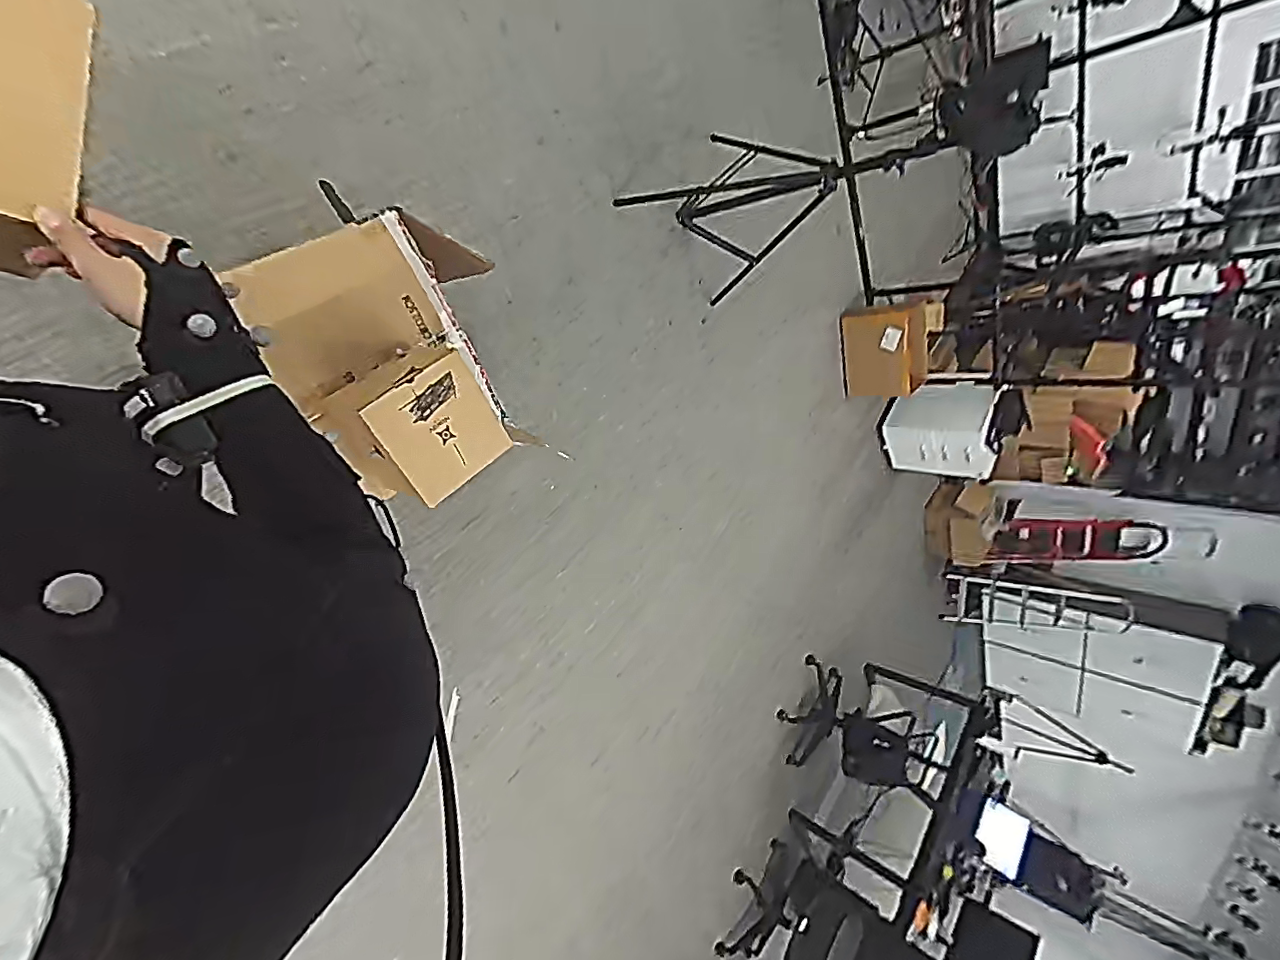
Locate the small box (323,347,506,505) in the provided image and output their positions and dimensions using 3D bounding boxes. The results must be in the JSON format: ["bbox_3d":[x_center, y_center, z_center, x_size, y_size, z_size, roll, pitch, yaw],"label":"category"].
[{"bbox_3d":[-0.350,-0.089,0.837,0.168,0.176,0.179,-43,128,-29],"label":"small box"}]

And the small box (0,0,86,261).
[{"bbox_3d":[-0.502,-0.258,0.346,0.179,0.176,0.168,5,88,-54],"label":"small box"}]
